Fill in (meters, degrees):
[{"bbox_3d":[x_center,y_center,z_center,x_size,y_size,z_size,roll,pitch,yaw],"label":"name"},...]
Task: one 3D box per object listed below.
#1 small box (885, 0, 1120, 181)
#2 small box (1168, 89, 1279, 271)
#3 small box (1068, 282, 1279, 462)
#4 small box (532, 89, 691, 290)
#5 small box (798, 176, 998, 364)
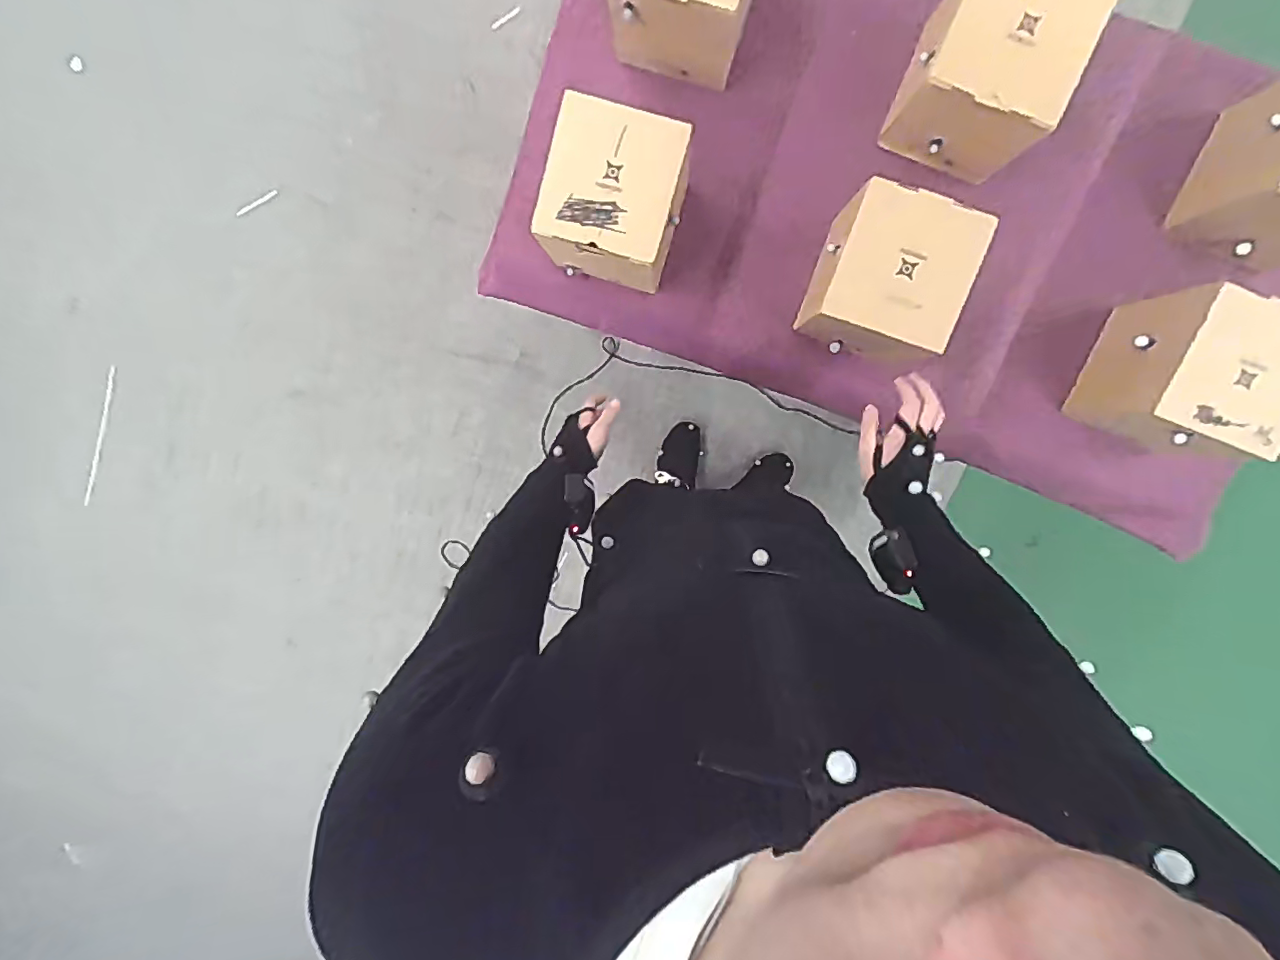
[{"bbox_3d":[0.453,-0.534,0.706,0.168,0.176,0.179,21,100,-1],"label":"small box"},{"bbox_3d":[0.861,-0.399,0.699,0.168,0.176,0.179,23,100,2],"label":"small box"},{"bbox_3d":[0.752,-0.140,0.744,0.168,0.176,0.179,22,97,1],"label":"small box"},{"bbox_3d":[-0.033,-0.384,0.751,0.168,0.176,0.179,17,97,0],"label":"small box"},{"bbox_3d":[0.337,-0.274,0.750,0.168,0.176,0.179,20,98,1],"label":"small box"}]
